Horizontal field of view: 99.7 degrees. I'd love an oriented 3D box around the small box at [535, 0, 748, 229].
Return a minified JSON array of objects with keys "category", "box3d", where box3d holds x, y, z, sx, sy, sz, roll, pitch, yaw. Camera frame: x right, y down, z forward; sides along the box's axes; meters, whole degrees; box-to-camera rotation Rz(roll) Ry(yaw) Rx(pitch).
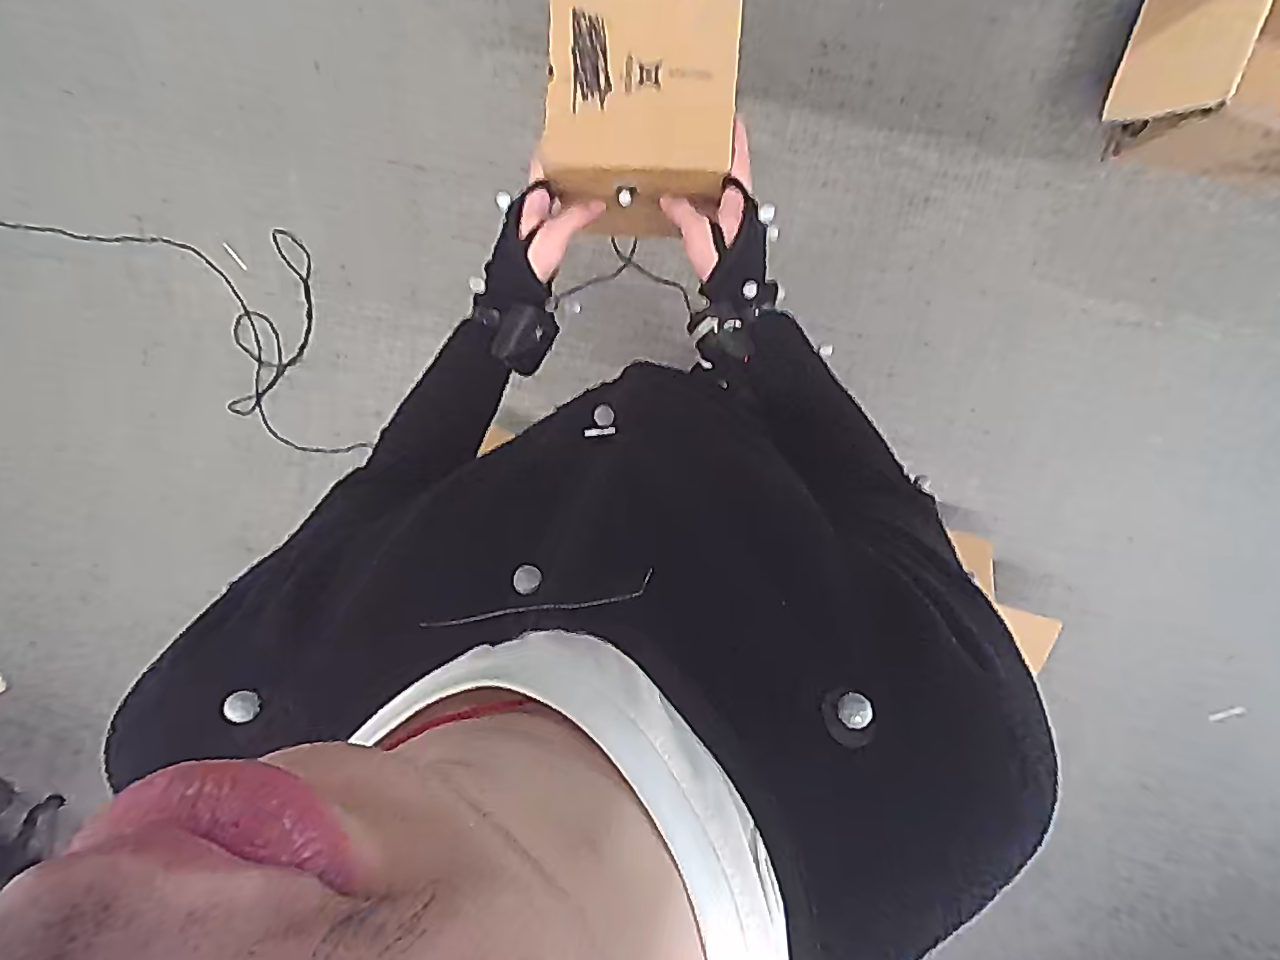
[{"category":"small box","box3d":[0.007,-0.374,0.555,0.179,0.176,0.168,7,97,4]}]
